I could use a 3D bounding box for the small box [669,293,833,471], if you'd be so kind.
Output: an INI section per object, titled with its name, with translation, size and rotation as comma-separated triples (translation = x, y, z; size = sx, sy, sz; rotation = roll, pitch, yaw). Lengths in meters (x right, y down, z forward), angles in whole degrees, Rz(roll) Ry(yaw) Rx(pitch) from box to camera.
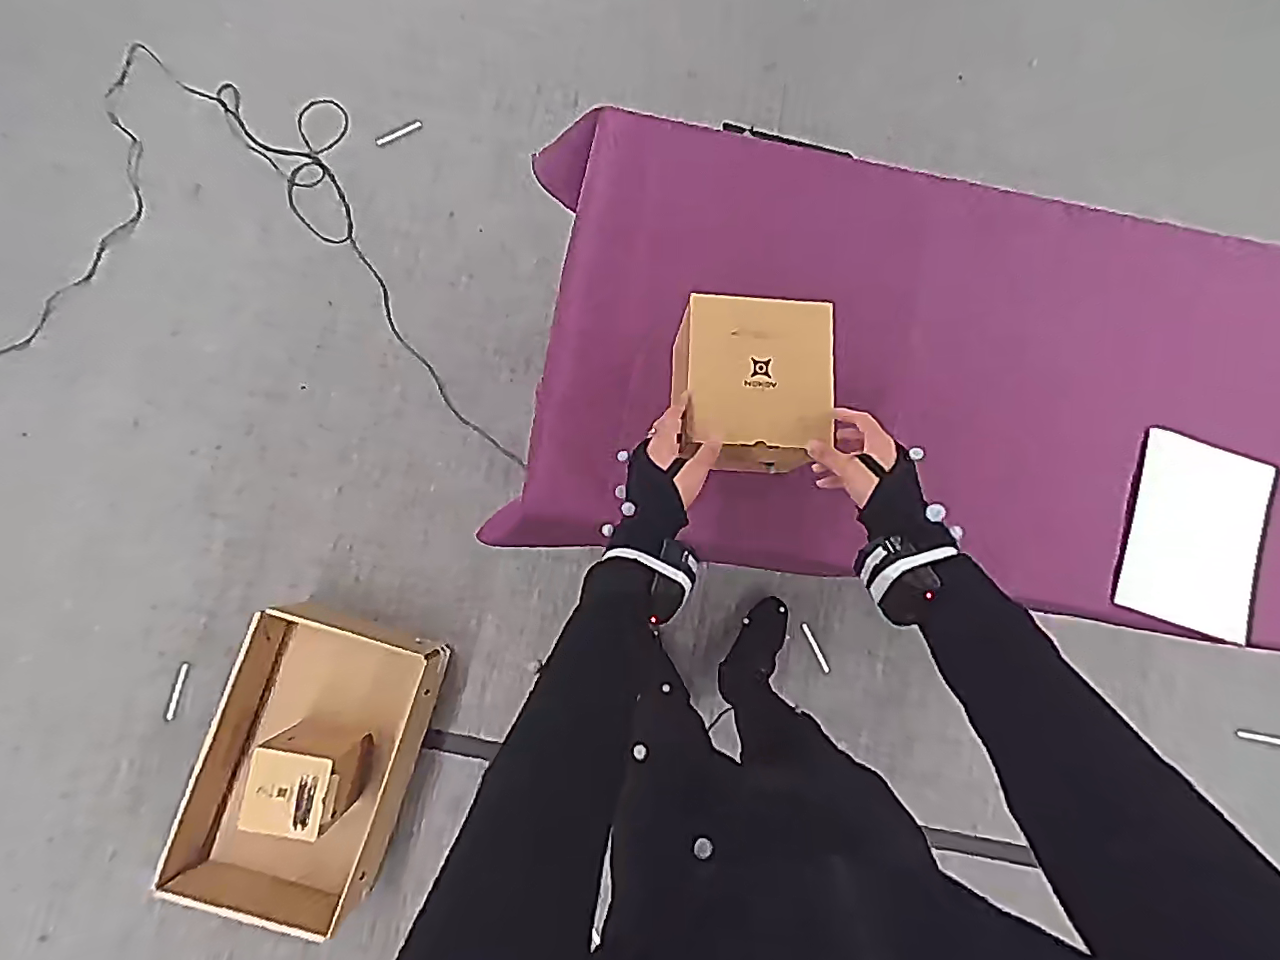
[small box]
translation = 0.128, -0.110, 0.678
size = 0.168, 0.176, 0.179
rotation = 3, 82, -3
